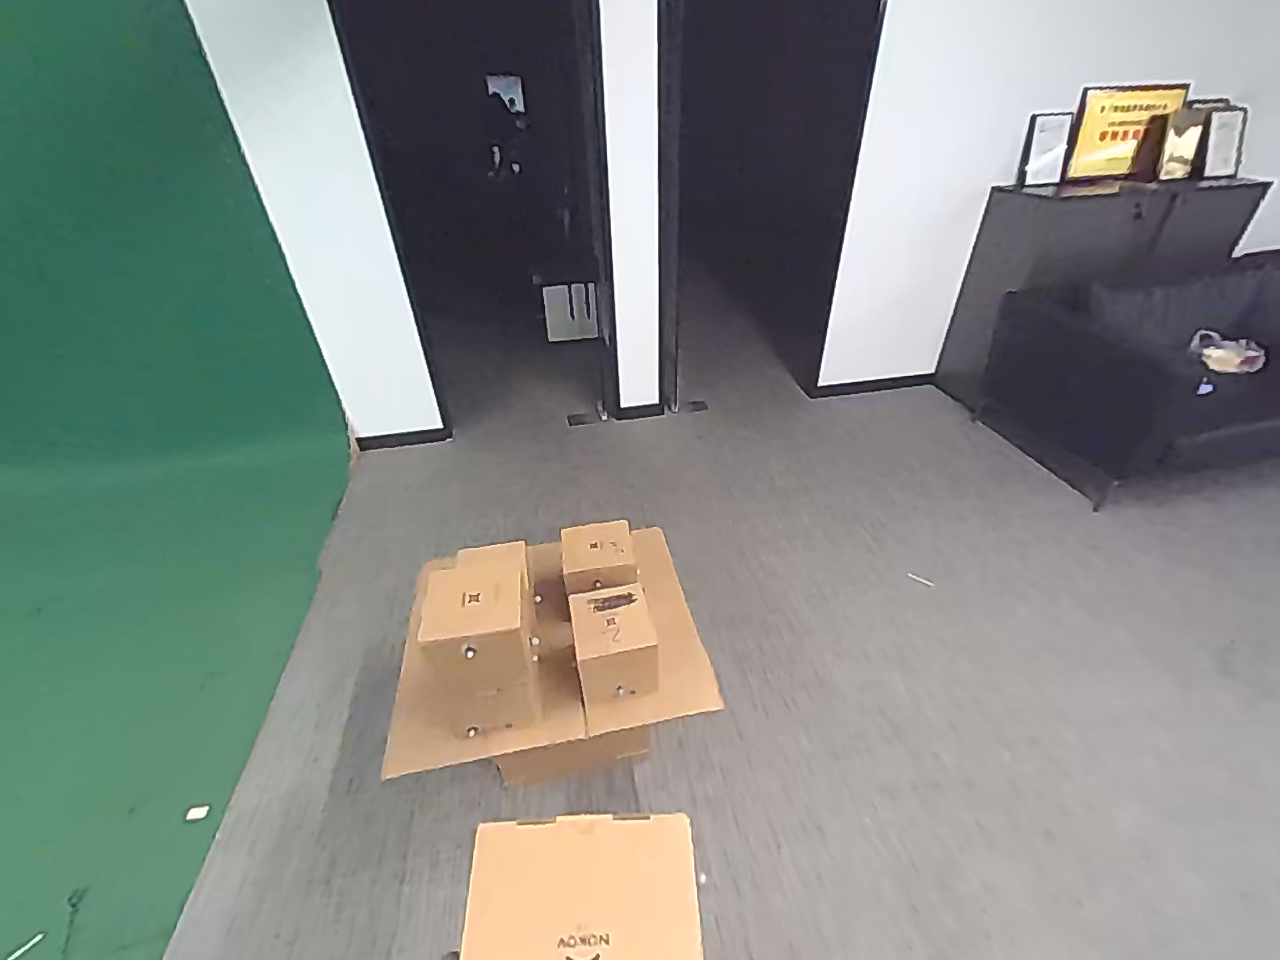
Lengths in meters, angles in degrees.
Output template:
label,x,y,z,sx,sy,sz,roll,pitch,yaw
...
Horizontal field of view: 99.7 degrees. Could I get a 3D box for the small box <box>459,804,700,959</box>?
label,x,y,z,sx,sy,sz,roll,pitch,yaw
small box,-0.044,0.376,0.422,0.168,0.176,0.179,0,45,-5

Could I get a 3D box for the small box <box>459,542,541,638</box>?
label,x,y,z,sx,sy,sz,roll,pitch,yaw
small box,-0.339,0.279,1.312,0.168,0.176,0.179,-10,35,-8

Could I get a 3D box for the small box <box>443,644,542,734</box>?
label,x,y,z,sx,sy,sz,roll,pitch,yaw
small box,-0.300,0.407,1.133,0.168,0.176,0.179,-8,35,-7

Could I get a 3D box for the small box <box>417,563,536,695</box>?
label,x,y,z,sx,sy,sz,roll,pitch,yaw
small box,-0.298,0.283,1.025,0.179,0.176,0.168,-7,37,-7
